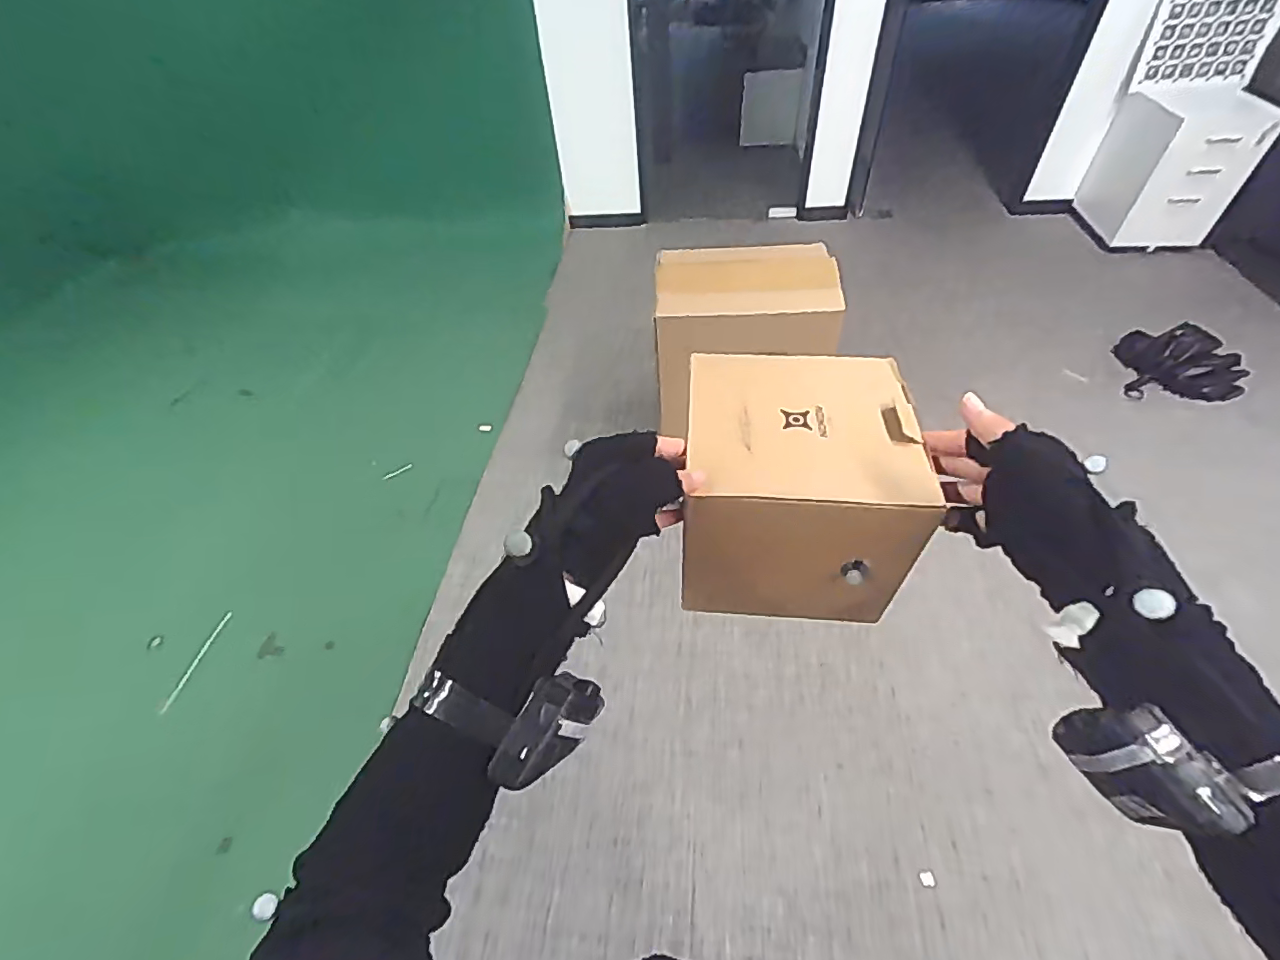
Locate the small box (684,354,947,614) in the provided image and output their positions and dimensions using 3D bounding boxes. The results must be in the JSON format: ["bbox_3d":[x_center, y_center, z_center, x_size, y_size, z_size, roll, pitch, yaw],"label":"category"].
[{"bbox_3d":[0.131,0.007,0.482,0.179,0.176,0.168,1,48,5],"label":"small box"}]
